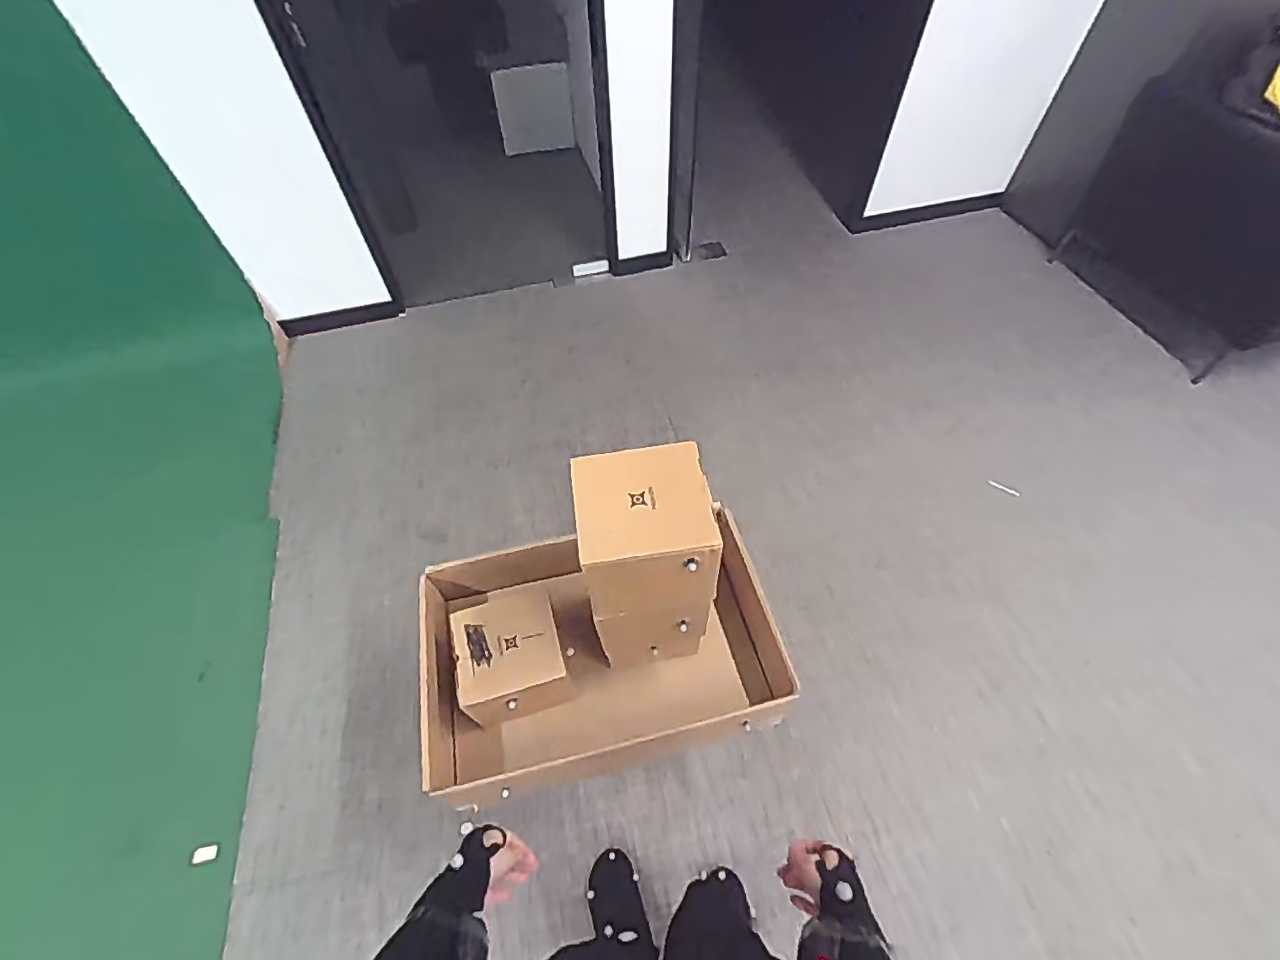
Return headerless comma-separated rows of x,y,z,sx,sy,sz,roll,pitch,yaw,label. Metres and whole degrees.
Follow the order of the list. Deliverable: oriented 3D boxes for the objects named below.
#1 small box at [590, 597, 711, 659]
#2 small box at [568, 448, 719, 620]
0.008,0.175,0.881,0.179,0.176,0.168,-10,55,-3,small box
0.004,0.080,0.750,0.179,0.176,0.168,-8,54,-3,small box
